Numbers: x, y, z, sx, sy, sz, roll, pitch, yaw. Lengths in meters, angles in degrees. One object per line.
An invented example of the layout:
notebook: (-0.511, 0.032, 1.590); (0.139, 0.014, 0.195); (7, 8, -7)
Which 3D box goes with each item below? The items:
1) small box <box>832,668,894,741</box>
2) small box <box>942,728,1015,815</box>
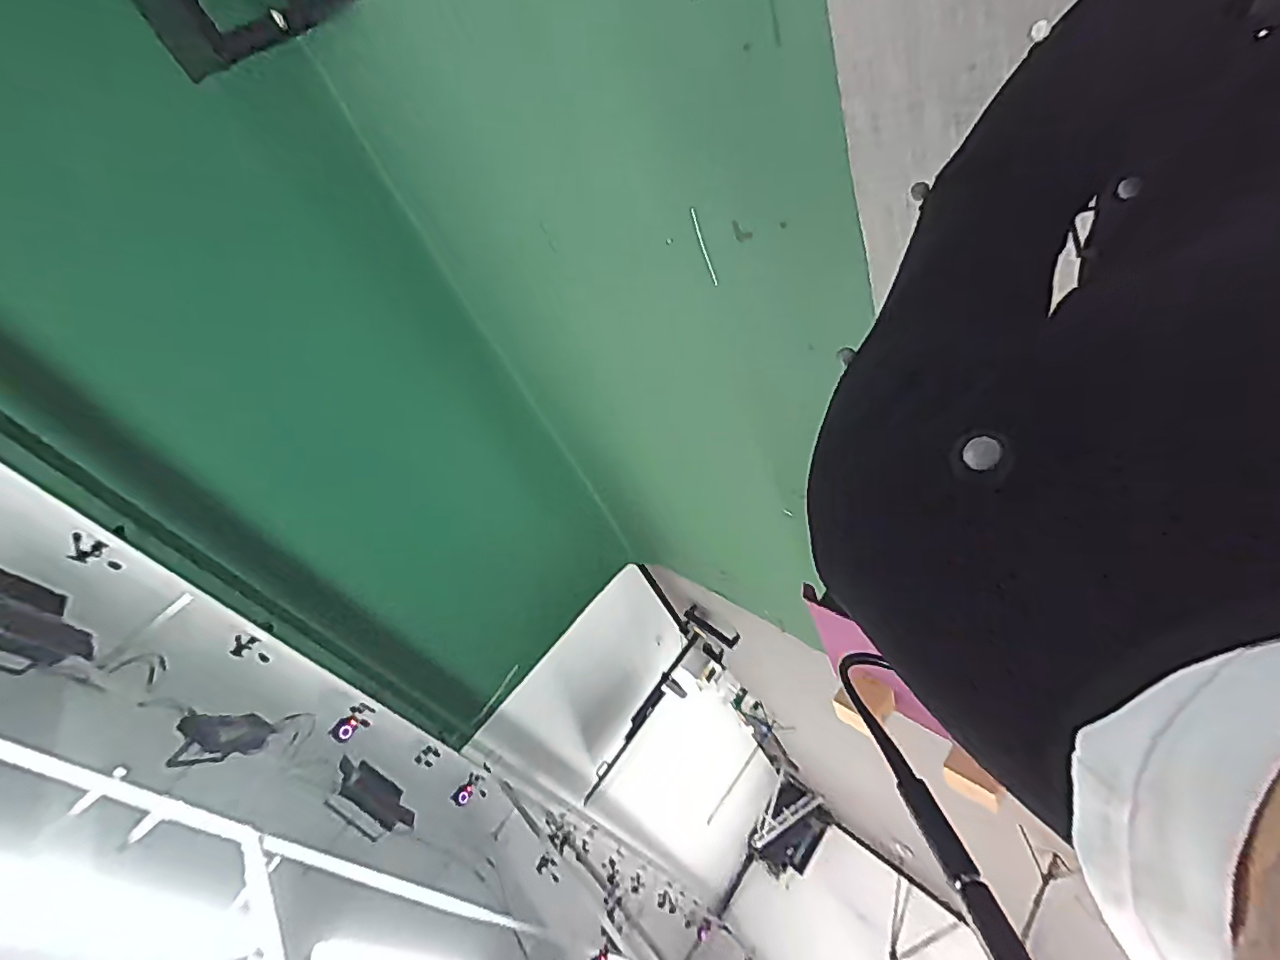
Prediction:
small box: (0.889, 0.885, 2.140); (0.168, 0.176, 0.179); (21, 150, 43)
small box: (1.167, 0.997, 1.857); (0.168, 0.176, 0.179); (19, 147, 46)
